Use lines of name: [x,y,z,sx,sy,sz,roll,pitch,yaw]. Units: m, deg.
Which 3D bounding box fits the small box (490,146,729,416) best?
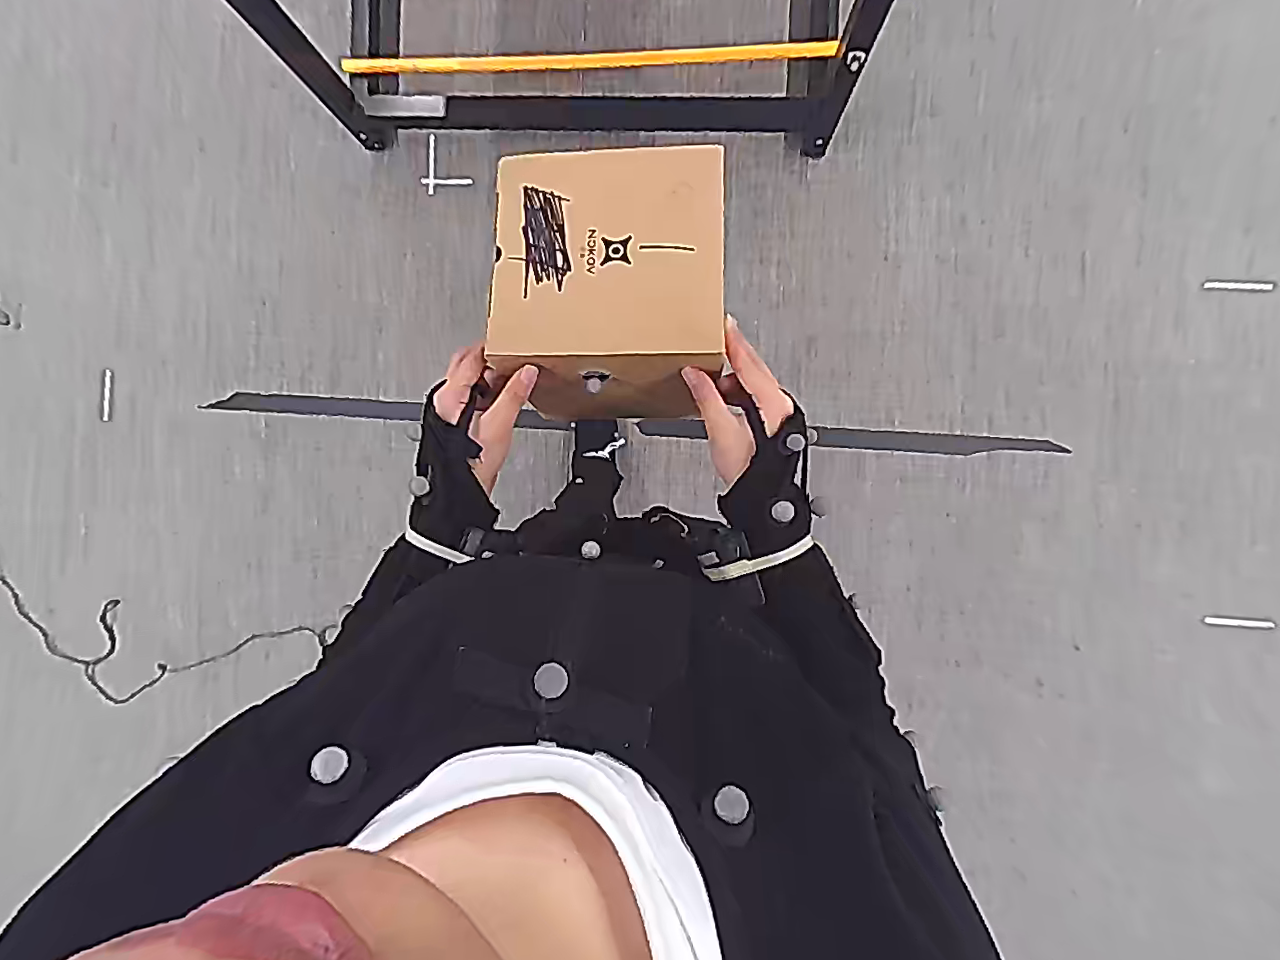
small box: [-0.014,-0.157,0.479,0.179,0.176,0.168,0,81,5]
